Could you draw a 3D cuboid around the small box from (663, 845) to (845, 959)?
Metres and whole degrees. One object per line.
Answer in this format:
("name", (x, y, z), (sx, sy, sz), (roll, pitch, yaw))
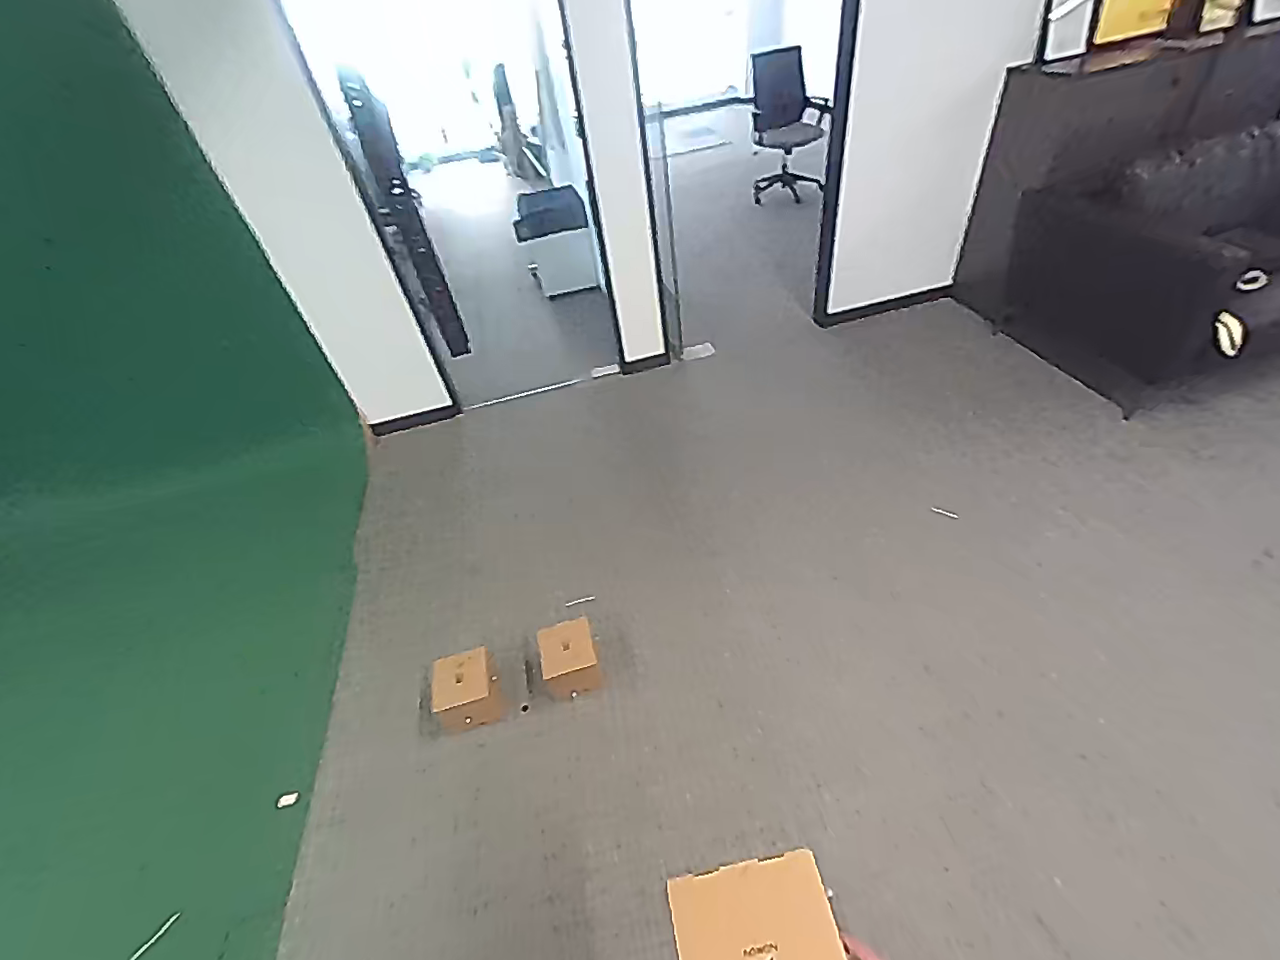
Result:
("small box", (0.125, 0.527, 0.581), (0.168, 0.176, 0.179), (-10, 43, -3))

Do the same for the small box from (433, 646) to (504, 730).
("small box", (-0.529, 0.655, 1.684), (0.168, 0.176, 0.179), (-15, 42, -5))

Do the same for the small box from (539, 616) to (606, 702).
("small box", (-0.214, 0.568, 1.716), (0.168, 0.176, 0.179), (-16, 43, -5))
